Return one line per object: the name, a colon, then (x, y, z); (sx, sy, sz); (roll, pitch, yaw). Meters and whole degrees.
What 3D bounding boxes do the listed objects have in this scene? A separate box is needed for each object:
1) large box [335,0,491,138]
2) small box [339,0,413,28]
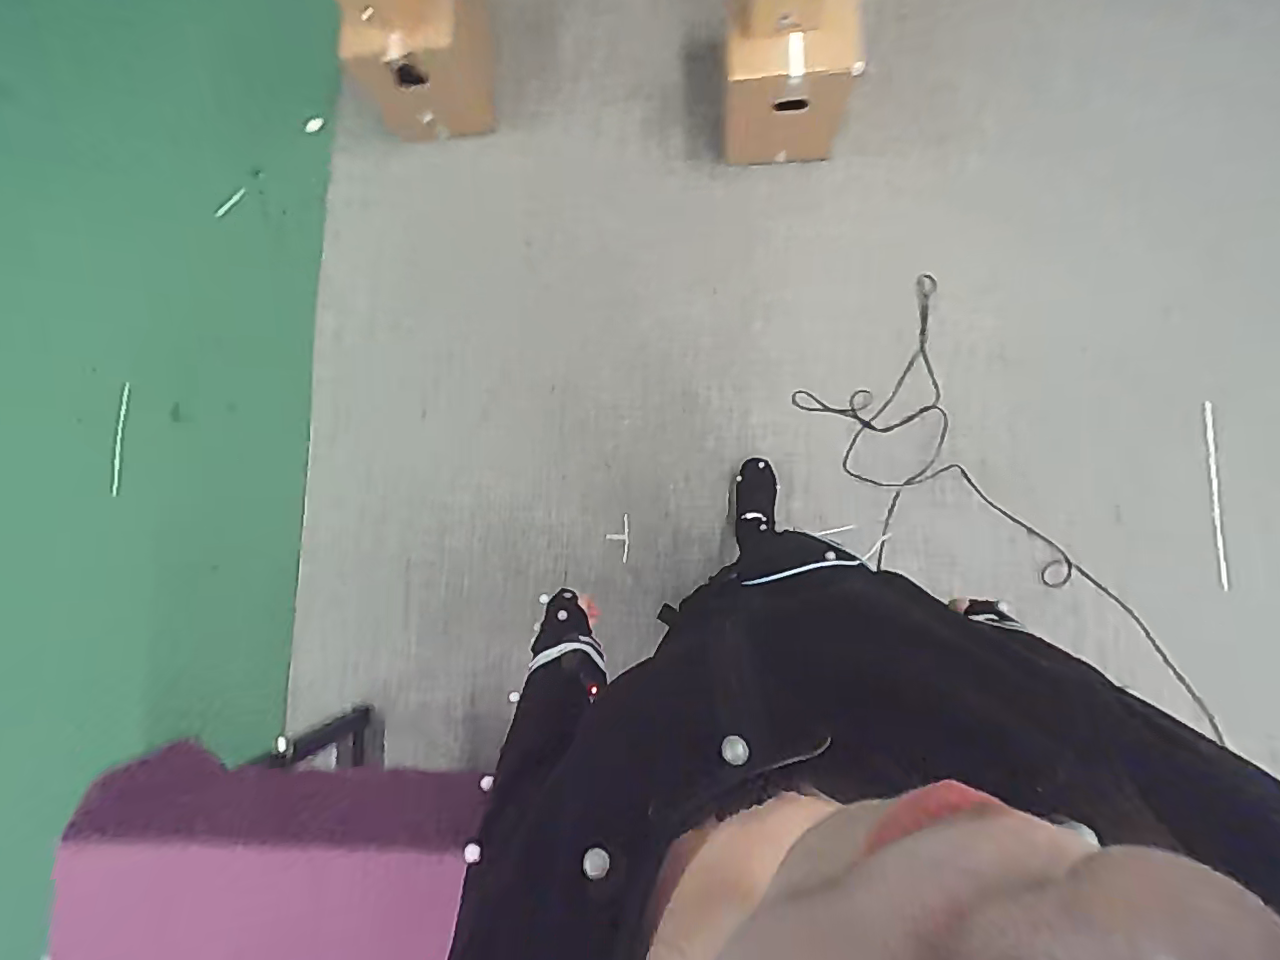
large box: (-0.637, -1.299, 1.571); (0.320, 0.320, 0.408); (-1, 84, 6)
small box: (-0.669, -1.270, 1.327); (0.168, 0.176, 0.179); (10, 86, 8)
